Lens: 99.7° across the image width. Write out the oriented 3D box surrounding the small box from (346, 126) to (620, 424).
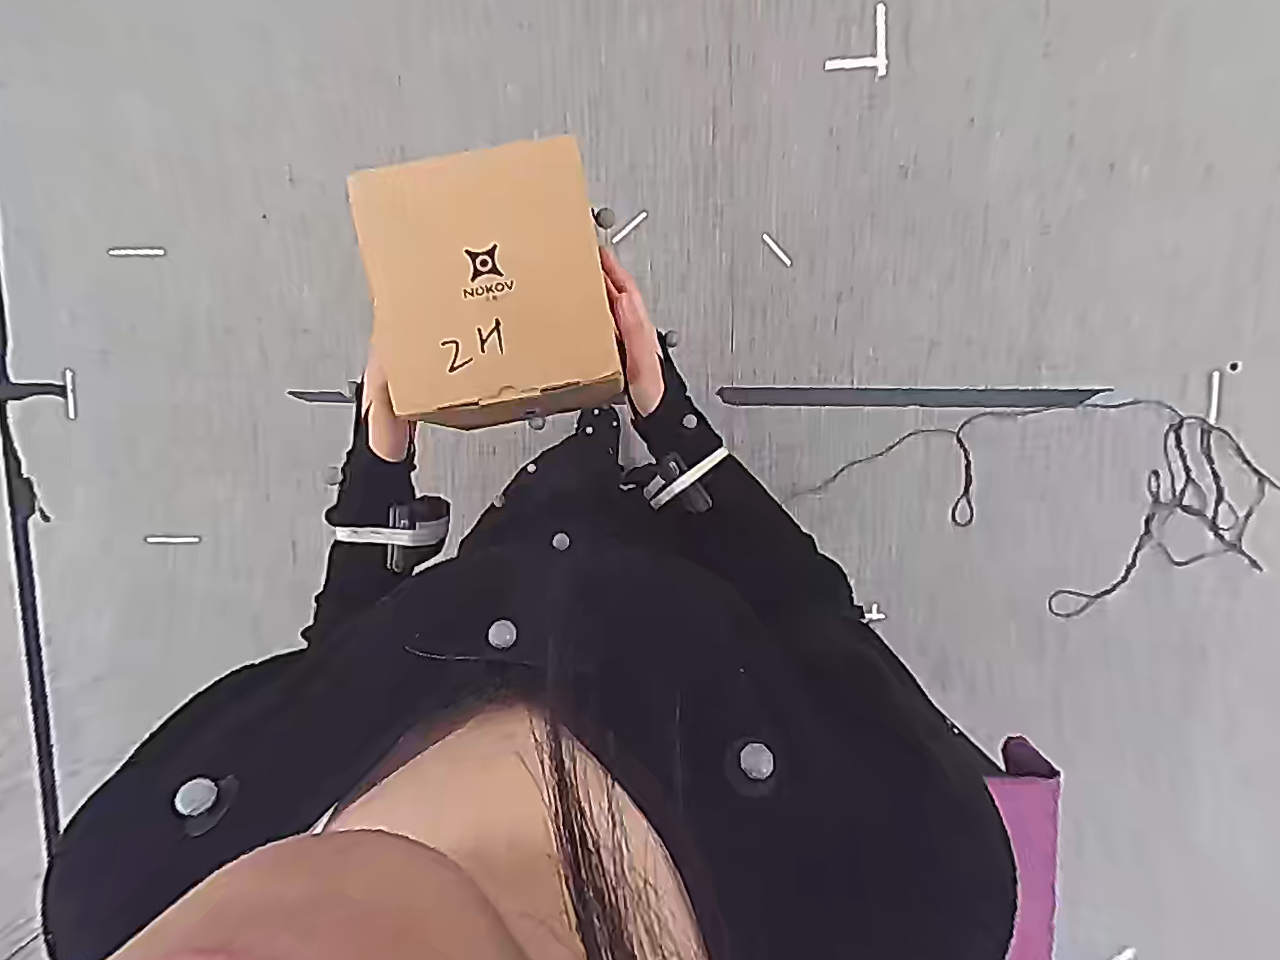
[{"bbox_3d":[-0.112,-0.151,0.456,0.168,0.176,0.179,-10,92,-1],"label":"small box"}]
